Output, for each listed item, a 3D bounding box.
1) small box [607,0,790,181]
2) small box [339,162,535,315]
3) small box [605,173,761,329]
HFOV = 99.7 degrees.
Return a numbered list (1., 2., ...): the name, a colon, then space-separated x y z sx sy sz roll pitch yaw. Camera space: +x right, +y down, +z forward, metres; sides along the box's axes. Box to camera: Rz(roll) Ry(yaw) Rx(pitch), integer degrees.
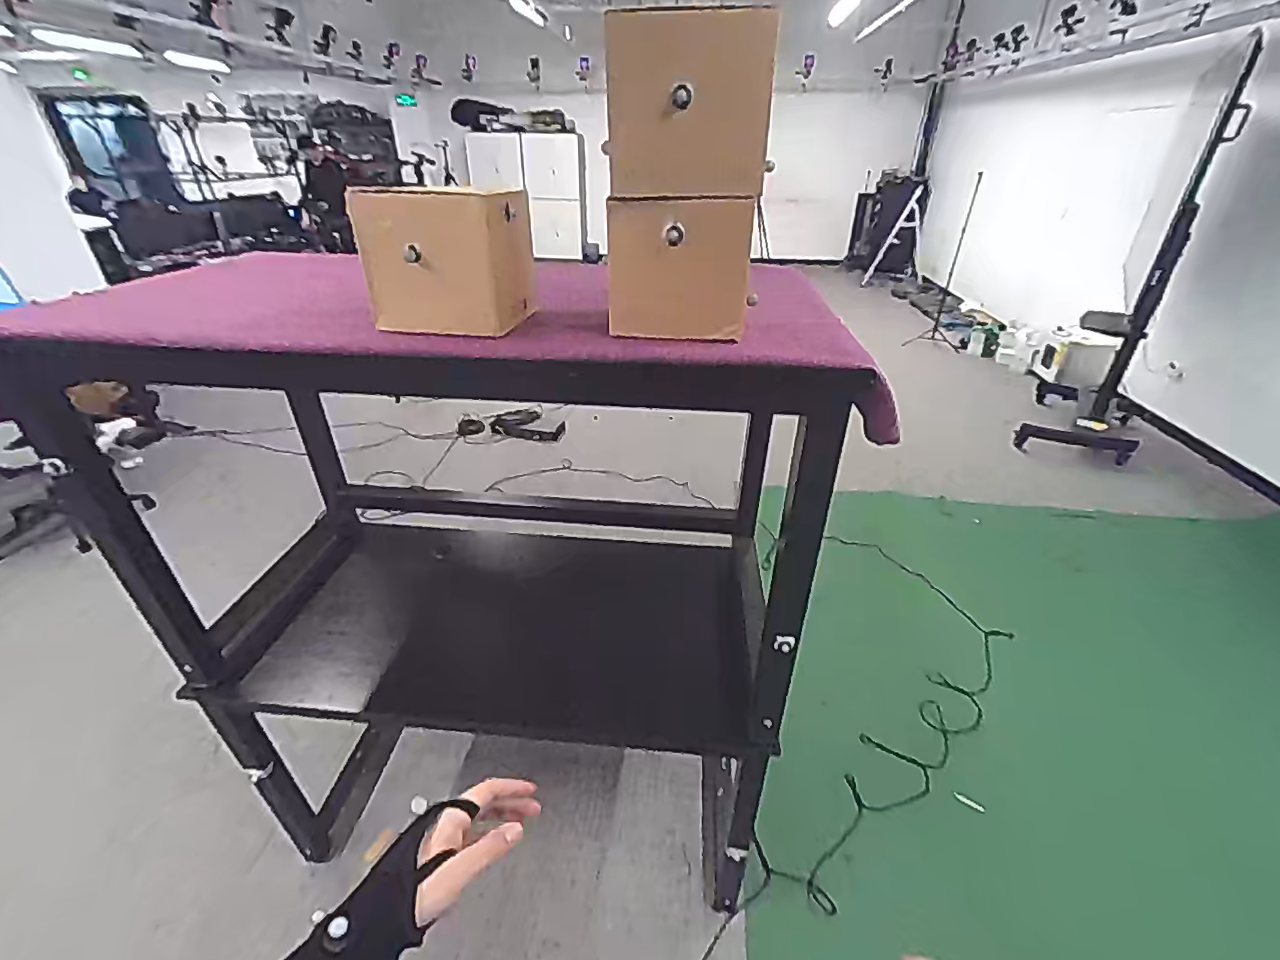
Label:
1. small box: 0.060 -0.438 0.612 0.179 0.176 0.168 2 32 4
2. small box: -0.250 -0.322 0.715 0.179 0.176 0.168 6 32 7
3. small box: 0.058 -0.300 0.699 0.179 0.176 0.168 7 32 8
